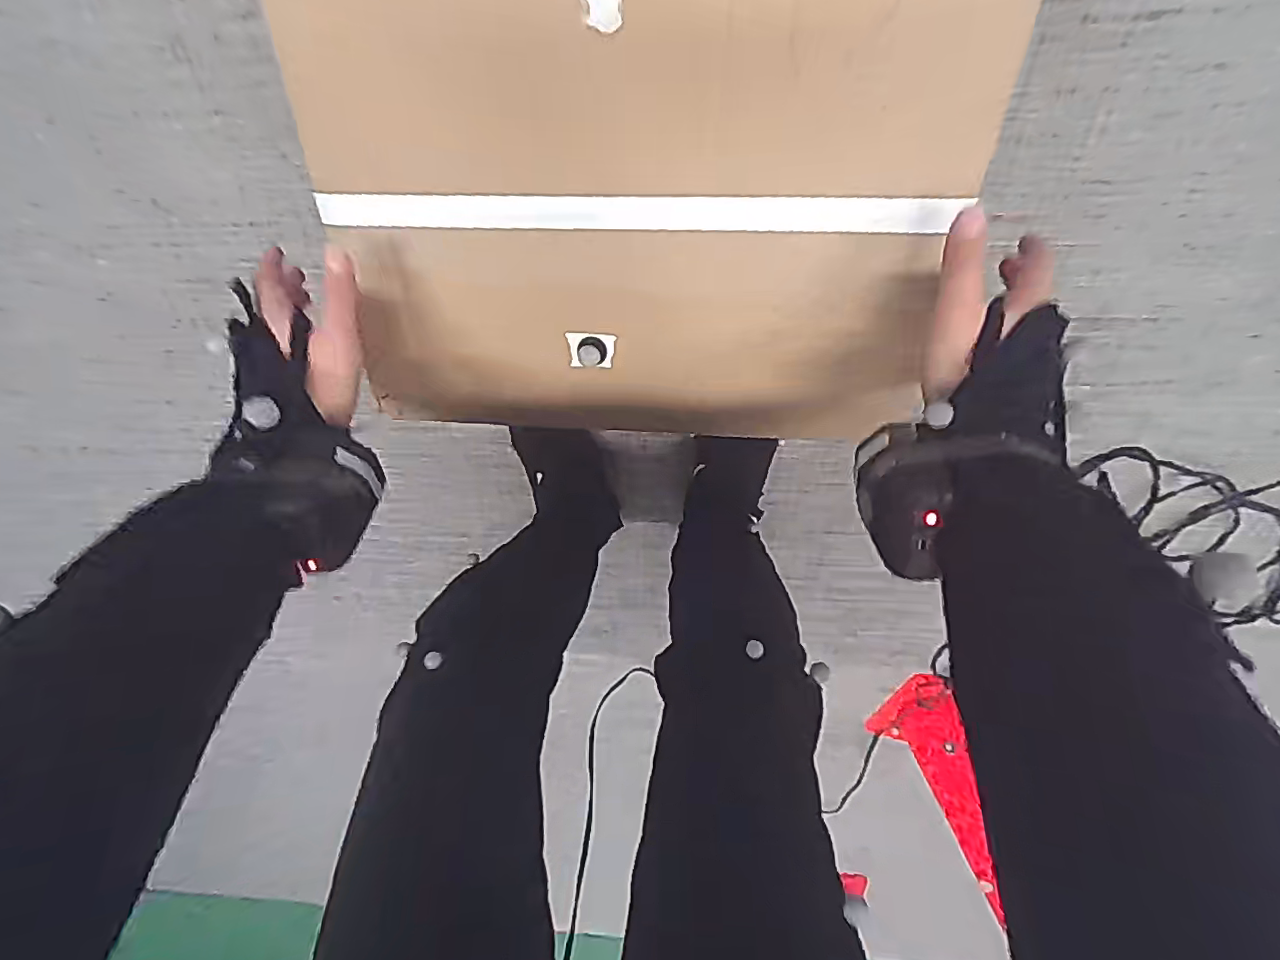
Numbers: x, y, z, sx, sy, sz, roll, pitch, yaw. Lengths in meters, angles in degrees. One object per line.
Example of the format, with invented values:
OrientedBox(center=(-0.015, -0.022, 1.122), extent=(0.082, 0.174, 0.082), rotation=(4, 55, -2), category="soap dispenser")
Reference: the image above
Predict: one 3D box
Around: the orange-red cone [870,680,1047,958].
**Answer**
OrientedBox(center=(0.553, 0.547, 0.884), extent=(0.199, 0.360, 0.198), rotation=(17, 124, -7), category="orange-red cone")
